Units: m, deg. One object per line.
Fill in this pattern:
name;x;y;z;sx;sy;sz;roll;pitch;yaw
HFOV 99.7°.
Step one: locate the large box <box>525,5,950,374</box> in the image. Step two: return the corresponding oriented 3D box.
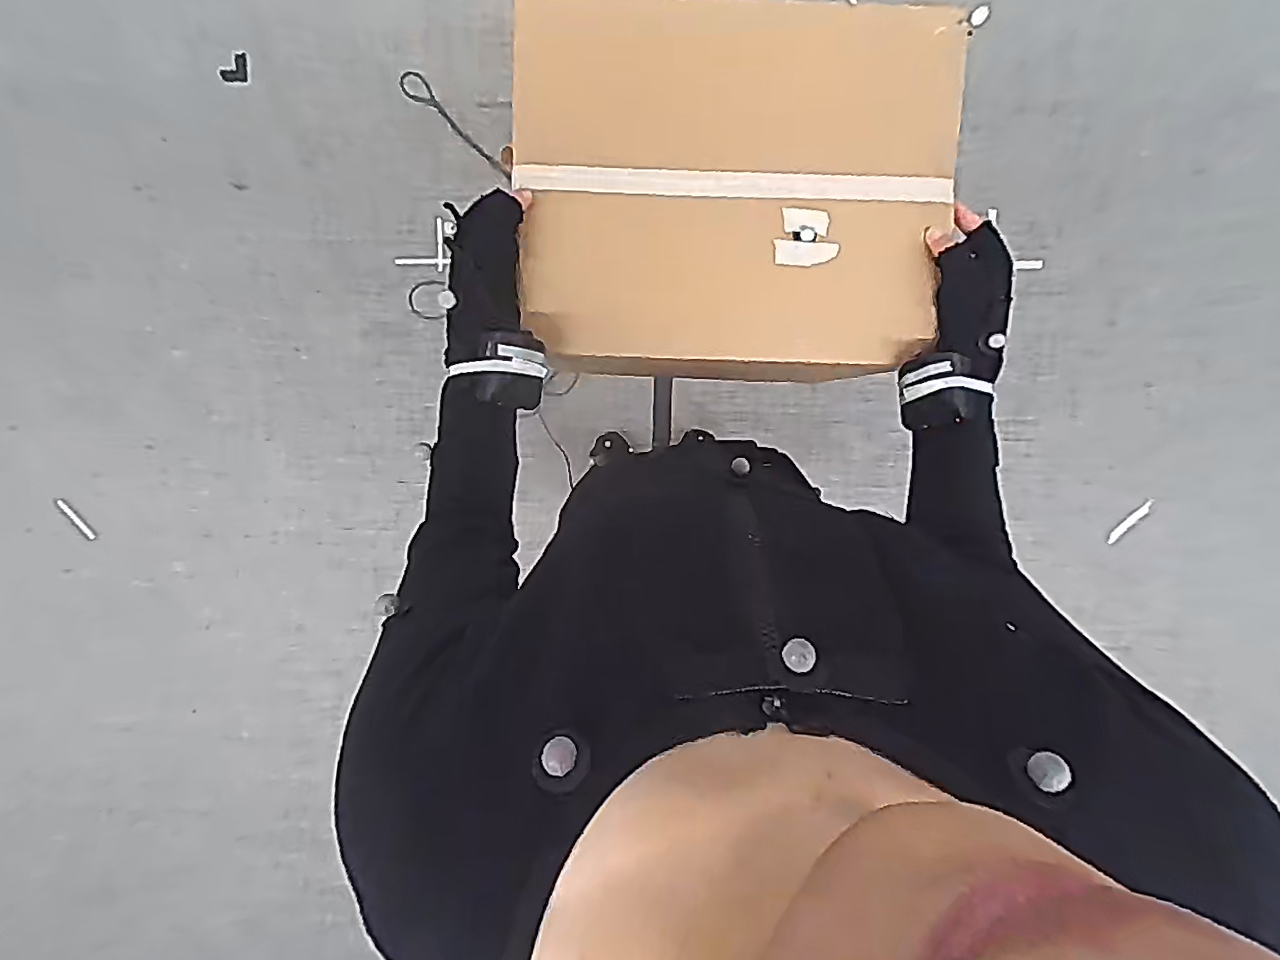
large box;0.085;-0.299;0.665;0.408;0.320;0.320;1;98;-2
